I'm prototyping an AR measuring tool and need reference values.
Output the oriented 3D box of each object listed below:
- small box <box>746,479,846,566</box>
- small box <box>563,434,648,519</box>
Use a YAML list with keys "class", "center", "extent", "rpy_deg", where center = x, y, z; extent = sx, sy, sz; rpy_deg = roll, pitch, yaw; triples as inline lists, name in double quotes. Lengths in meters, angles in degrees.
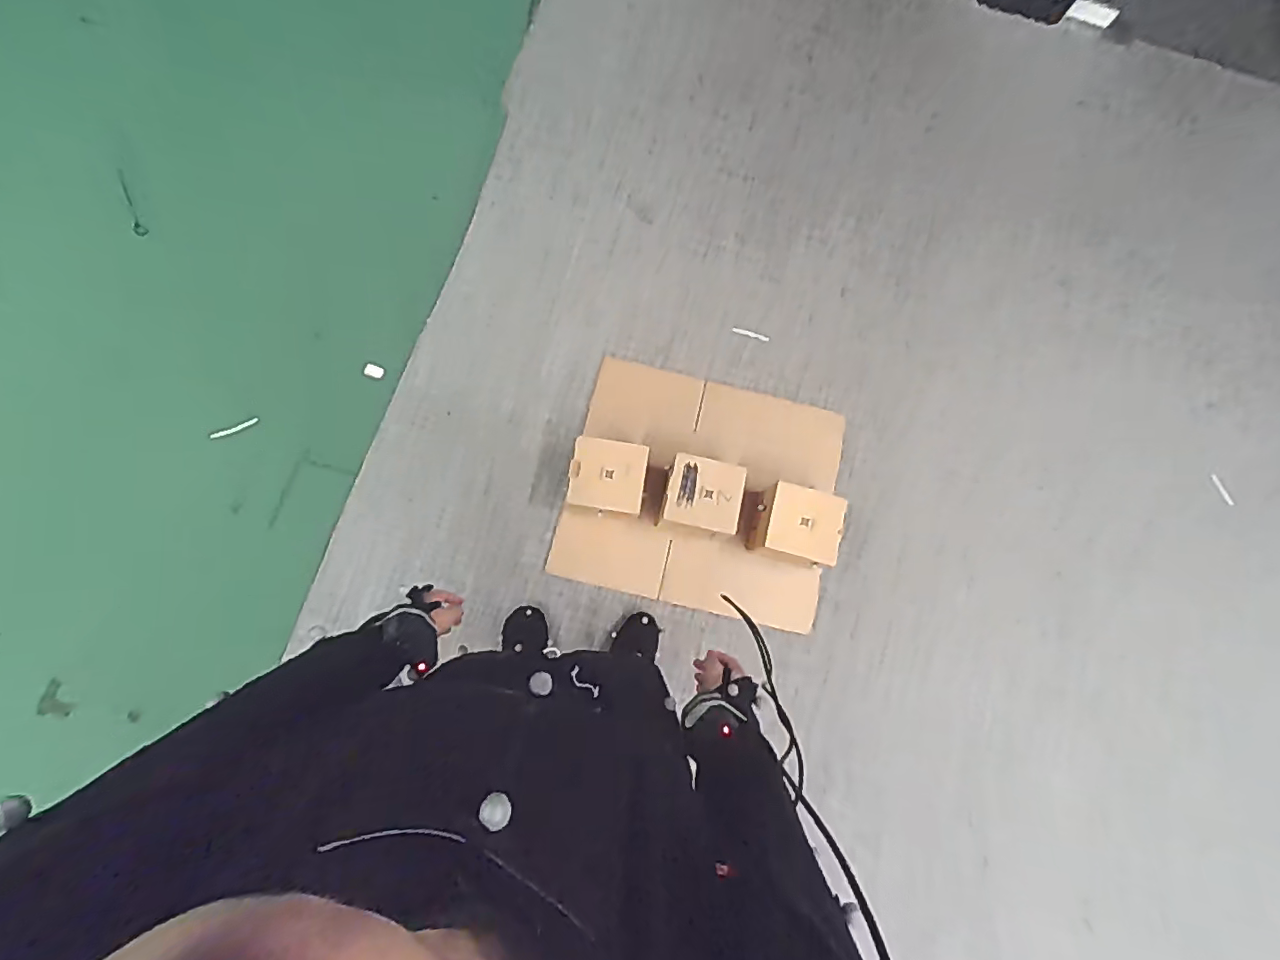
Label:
- class: "small box"
  center: [0.377, 0.112, 1.335]
  extent: [0.179, 0.176, 0.168]
  rpy_deg: [16, 77, -1]
- class: "small box"
  center: [-0.085, -0.002, 1.327]
  extent: [0.179, 0.176, 0.168]
  rpy_deg: [9, 79, -3]
